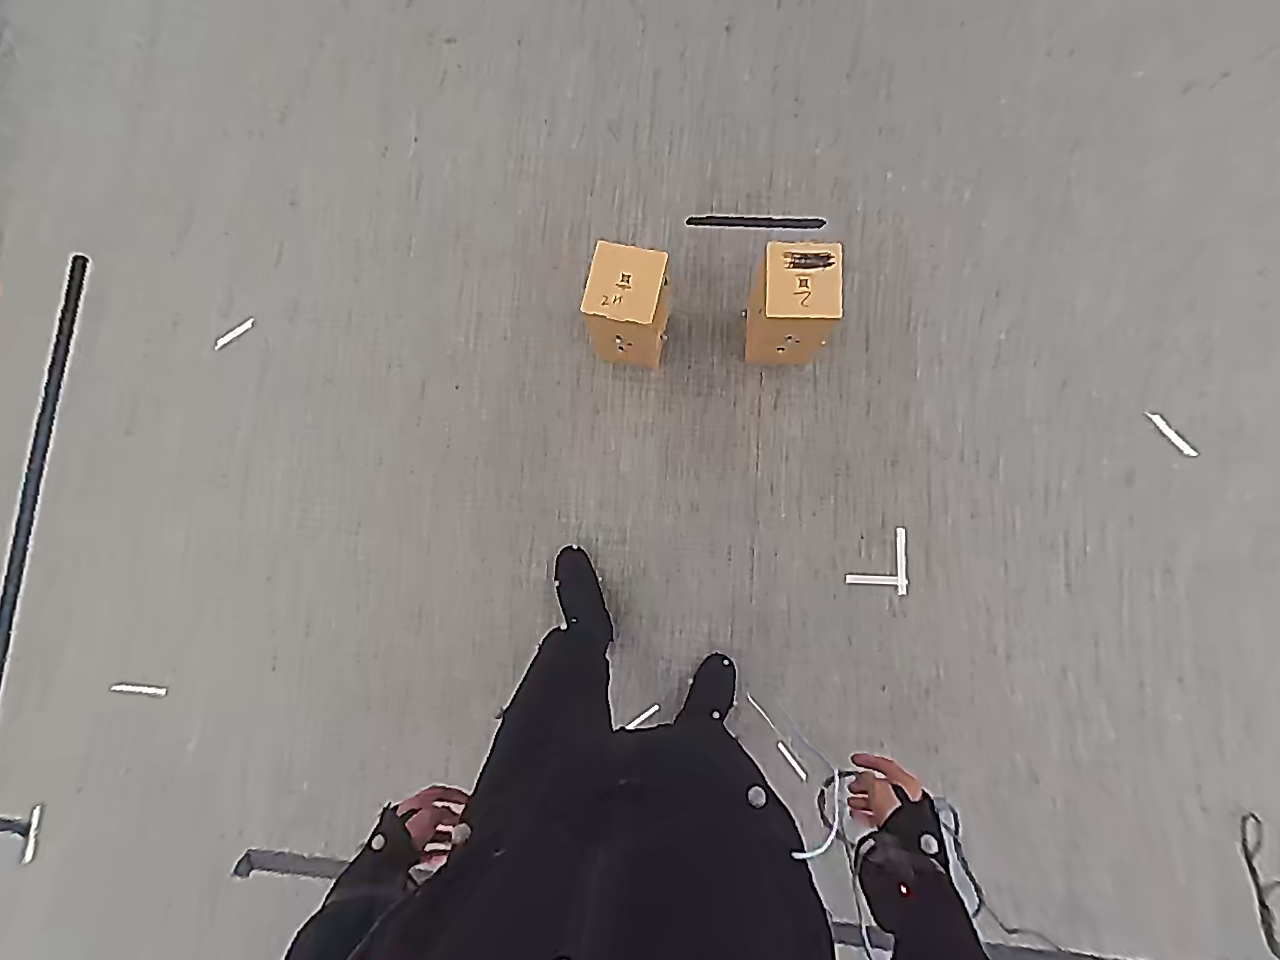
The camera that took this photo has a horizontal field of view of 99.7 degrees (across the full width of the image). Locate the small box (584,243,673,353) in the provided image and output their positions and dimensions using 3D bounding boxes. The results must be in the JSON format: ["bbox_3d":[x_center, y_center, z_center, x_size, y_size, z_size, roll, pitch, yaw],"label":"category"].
[{"bbox_3d":[-0.022,-0.425,1.283,0.168,0.176,0.179,13,85,5],"label":"small box"}]

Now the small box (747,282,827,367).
[{"bbox_3d":[0.381,-0.403,1.426,0.179,0.176,0.168,3,84,2],"label":"small box"}]

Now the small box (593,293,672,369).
[{"bbox_3d":[-0.014,-0.408,1.447,0.179,0.176,0.168,12,84,5],"label":"small box"}]
